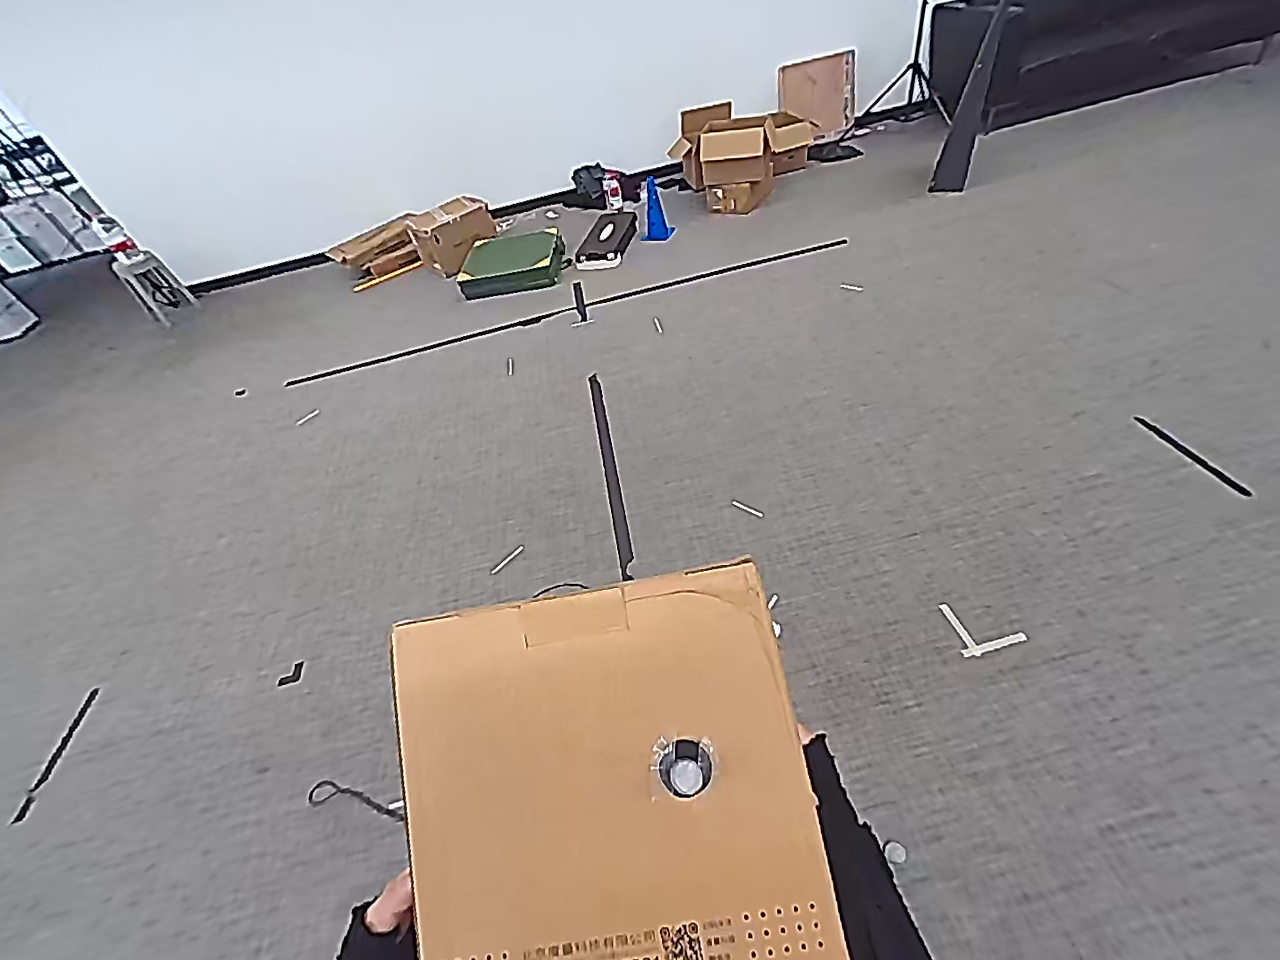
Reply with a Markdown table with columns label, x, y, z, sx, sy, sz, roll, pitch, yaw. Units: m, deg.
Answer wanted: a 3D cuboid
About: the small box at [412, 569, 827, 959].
| label | x | y | z | sx | sy | sz | roll | pitch | yaw |
| --- | --- | --- | --- | --- | --- | --- | --- | --- | --- |
| small box | -0.006 | 0.153 | 0.317 | 0.168 | 0.179 | 0.176 | -11 | 79 | 3 |
